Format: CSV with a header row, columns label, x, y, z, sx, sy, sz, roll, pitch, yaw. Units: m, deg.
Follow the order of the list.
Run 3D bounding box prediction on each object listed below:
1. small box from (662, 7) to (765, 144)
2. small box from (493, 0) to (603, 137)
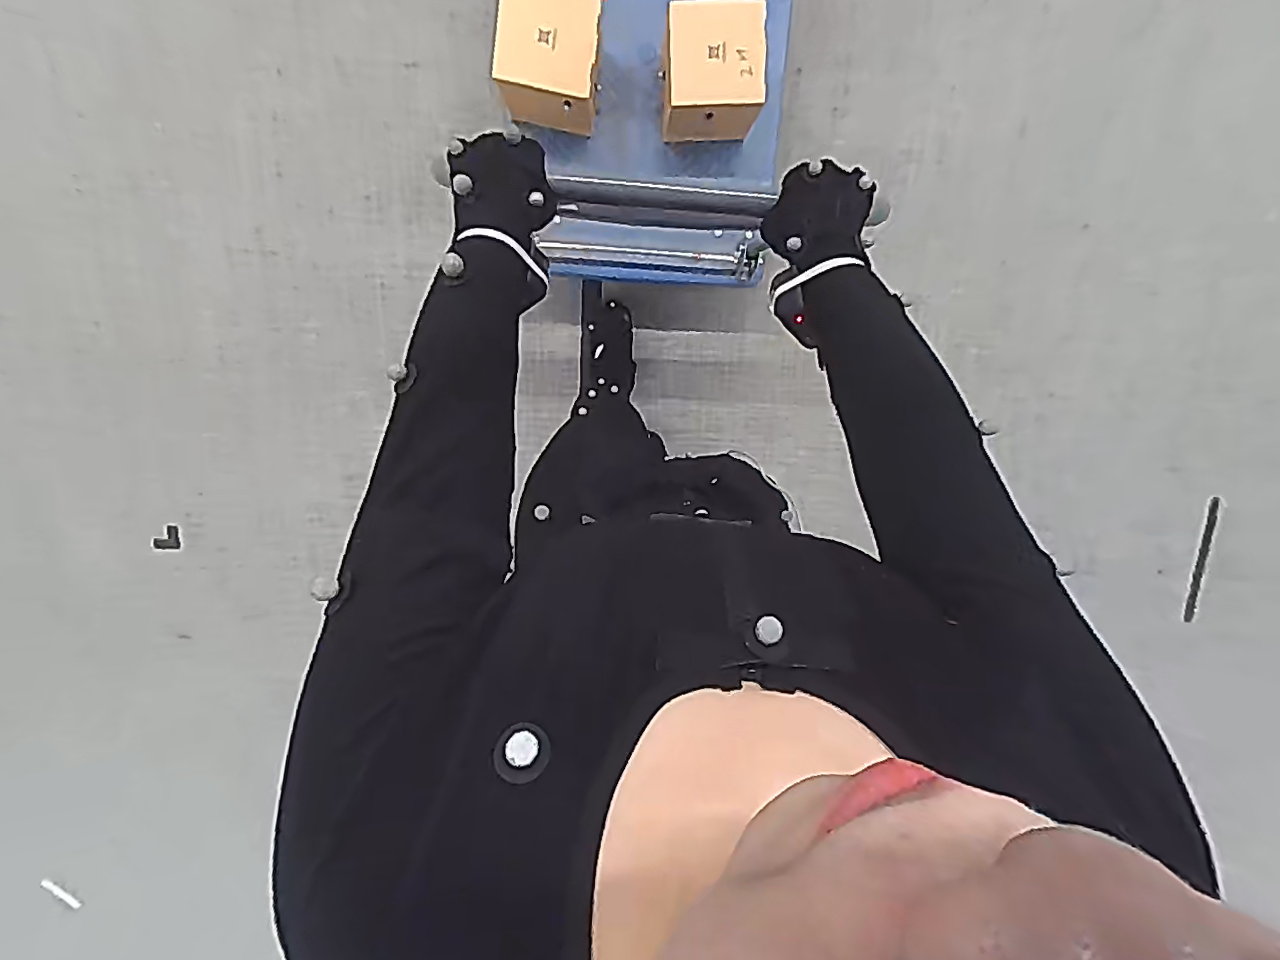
label,x,y,z,sx,sy,sz,roll,pitch,yaw
small box,0.134,-0.775,1.053,0.179,0.176,0.168,-2,103,-2
small box,-0.169,-0.789,1.034,0.179,0.176,0.168,9,102,-6
